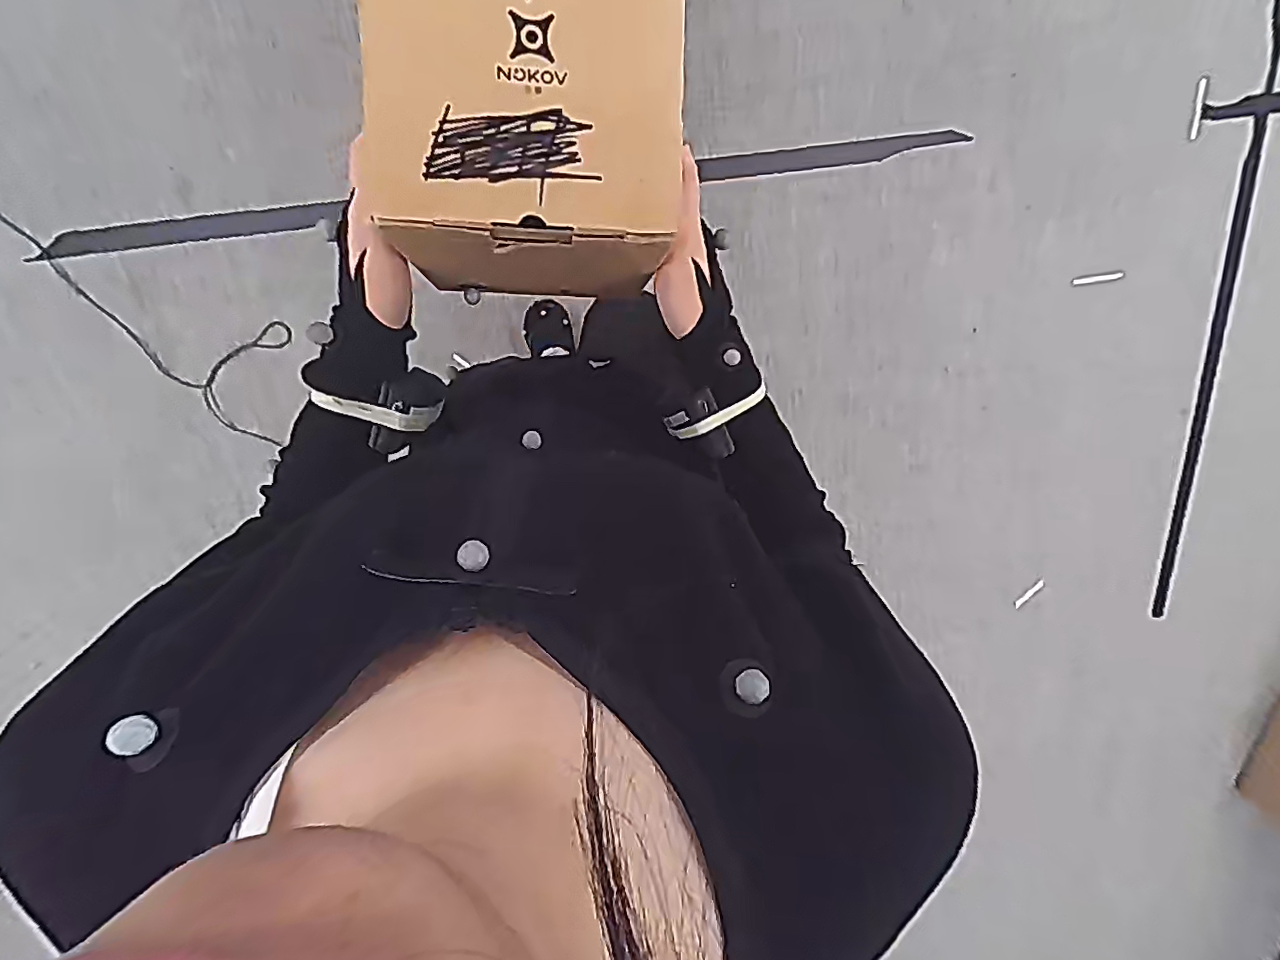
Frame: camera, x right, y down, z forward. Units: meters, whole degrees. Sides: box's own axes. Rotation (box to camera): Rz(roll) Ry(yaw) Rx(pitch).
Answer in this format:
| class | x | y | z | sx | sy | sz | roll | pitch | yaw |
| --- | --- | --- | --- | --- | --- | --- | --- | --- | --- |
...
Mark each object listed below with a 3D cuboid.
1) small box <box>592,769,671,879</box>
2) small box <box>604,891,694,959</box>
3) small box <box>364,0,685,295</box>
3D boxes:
| class | x | y | z | sx | sy | sz | roll | pitch | yaw |
| --- | --- | --- | --- | --- | --- | --- | --- | --- | --- |
| small box | -0.026 | 0.903 | 1.435 | 0.179 | 0.176 | 0.168 | -10 | 108 | -3 |
| small box | 0.019 | 1.006 | 1.126 | 0.179 | 0.176 | 0.168 | -7 | 109 | -6 |
| small box | -0.070 | -0.231 | 0.362 | 0.168 | 0.176 | 0.179 | 0 | 96 | -10 |
